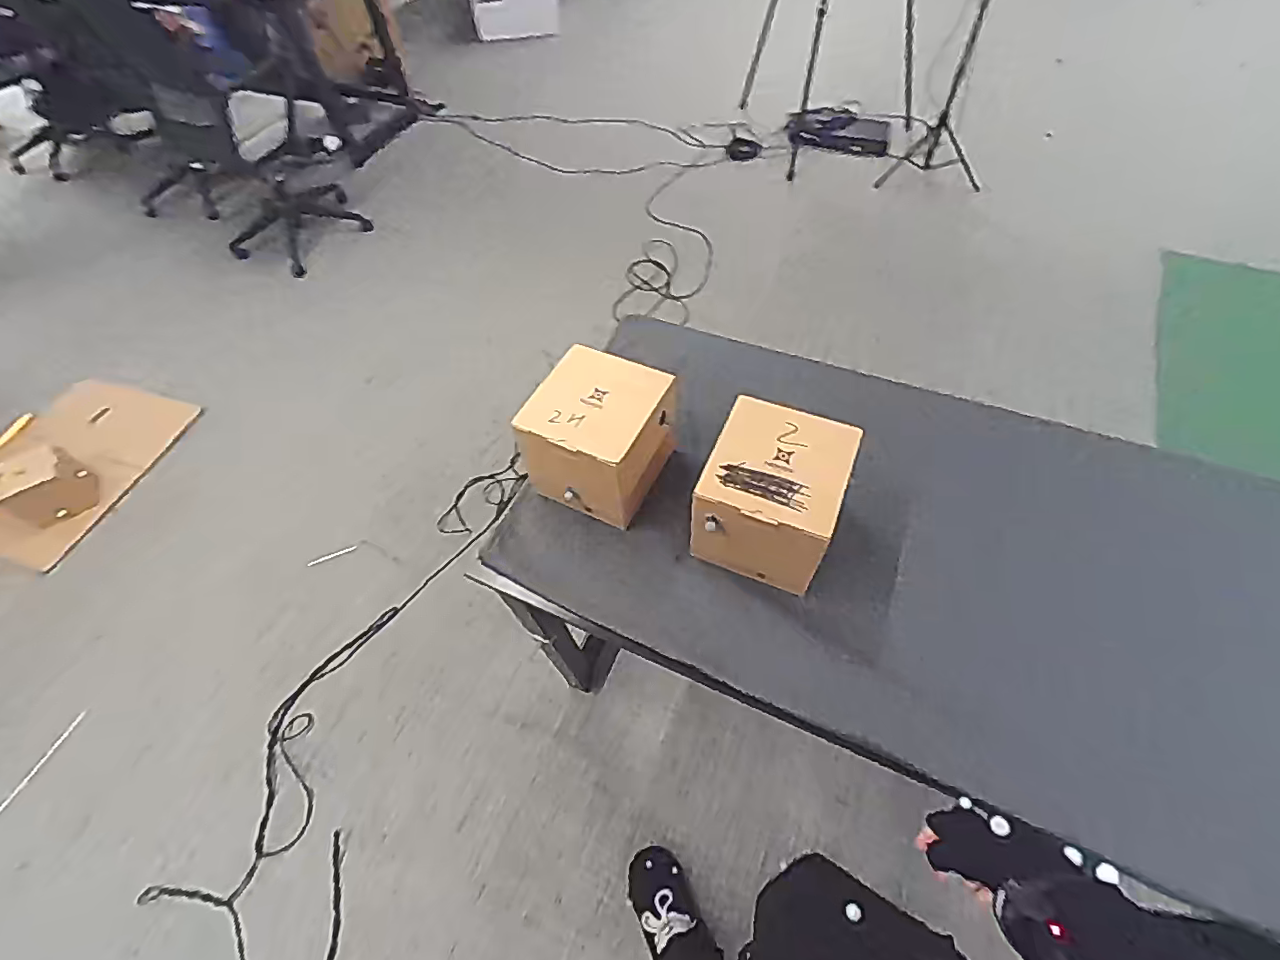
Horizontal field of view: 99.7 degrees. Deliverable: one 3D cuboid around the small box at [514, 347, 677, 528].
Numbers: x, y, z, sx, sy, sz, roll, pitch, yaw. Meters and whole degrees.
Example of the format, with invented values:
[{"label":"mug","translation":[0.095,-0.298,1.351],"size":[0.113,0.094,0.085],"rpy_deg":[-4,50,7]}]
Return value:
[{"label":"small box","translation":[-0.057,-0.061,0.804],"size":[0.168,0.176,0.179],"rpy_deg":[21,59,18]}]
